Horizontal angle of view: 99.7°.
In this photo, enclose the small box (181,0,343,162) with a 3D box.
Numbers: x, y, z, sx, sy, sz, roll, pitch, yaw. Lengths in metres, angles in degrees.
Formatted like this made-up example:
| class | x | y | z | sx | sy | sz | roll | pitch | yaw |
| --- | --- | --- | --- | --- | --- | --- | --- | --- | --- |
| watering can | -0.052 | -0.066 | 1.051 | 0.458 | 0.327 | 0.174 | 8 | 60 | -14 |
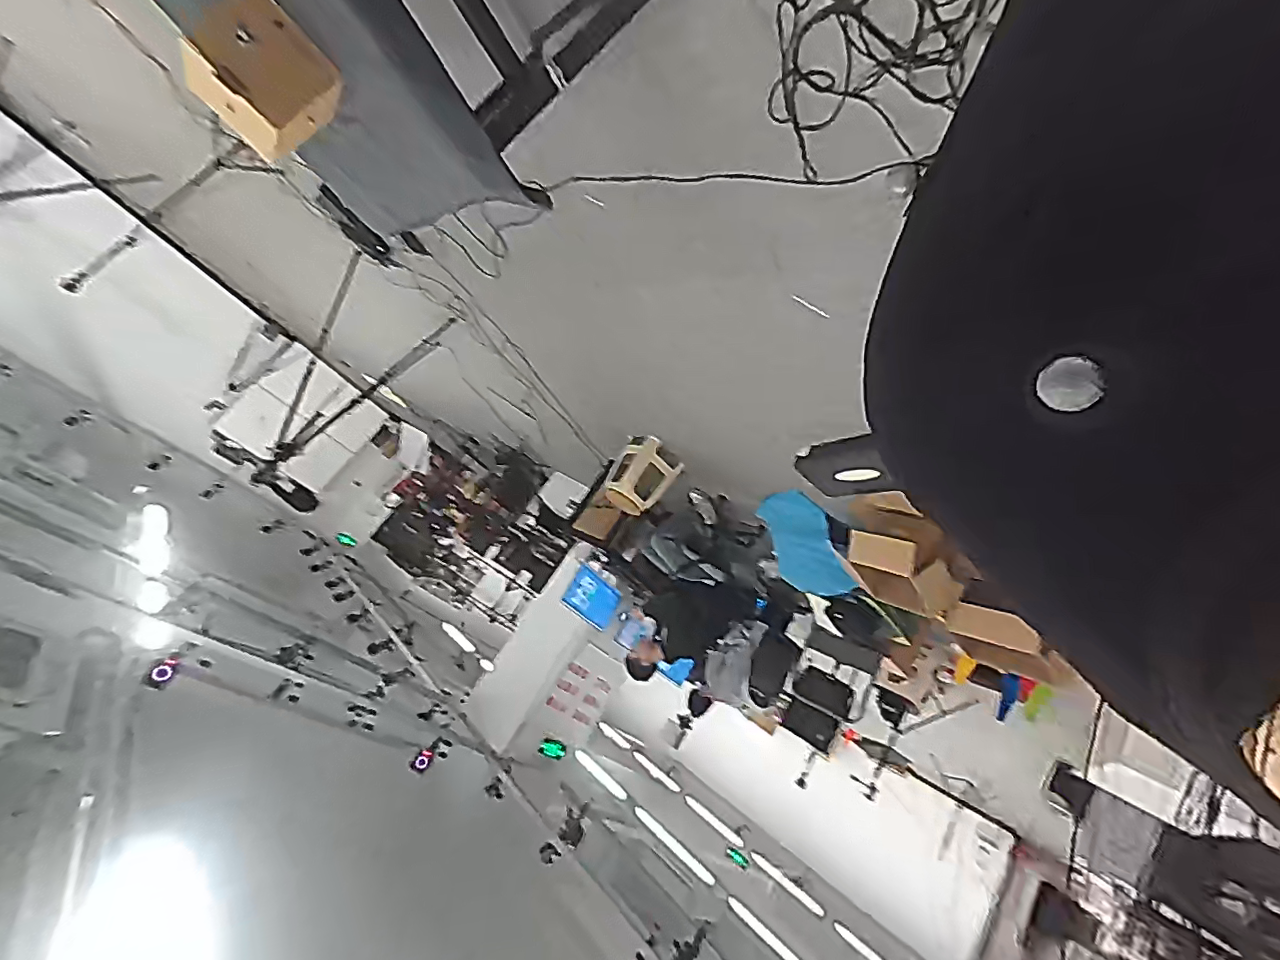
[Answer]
| class | x | y | z | sx | sy | sz | roll | pitch | yaw |
| --- | --- | --- | --- | --- | --- | --- | --- | --- | --- |
| small box | -0.668 | -0.725 | 0.970 | 0.168 | 0.176 | 0.179 | 46 | 161 | -31 |
